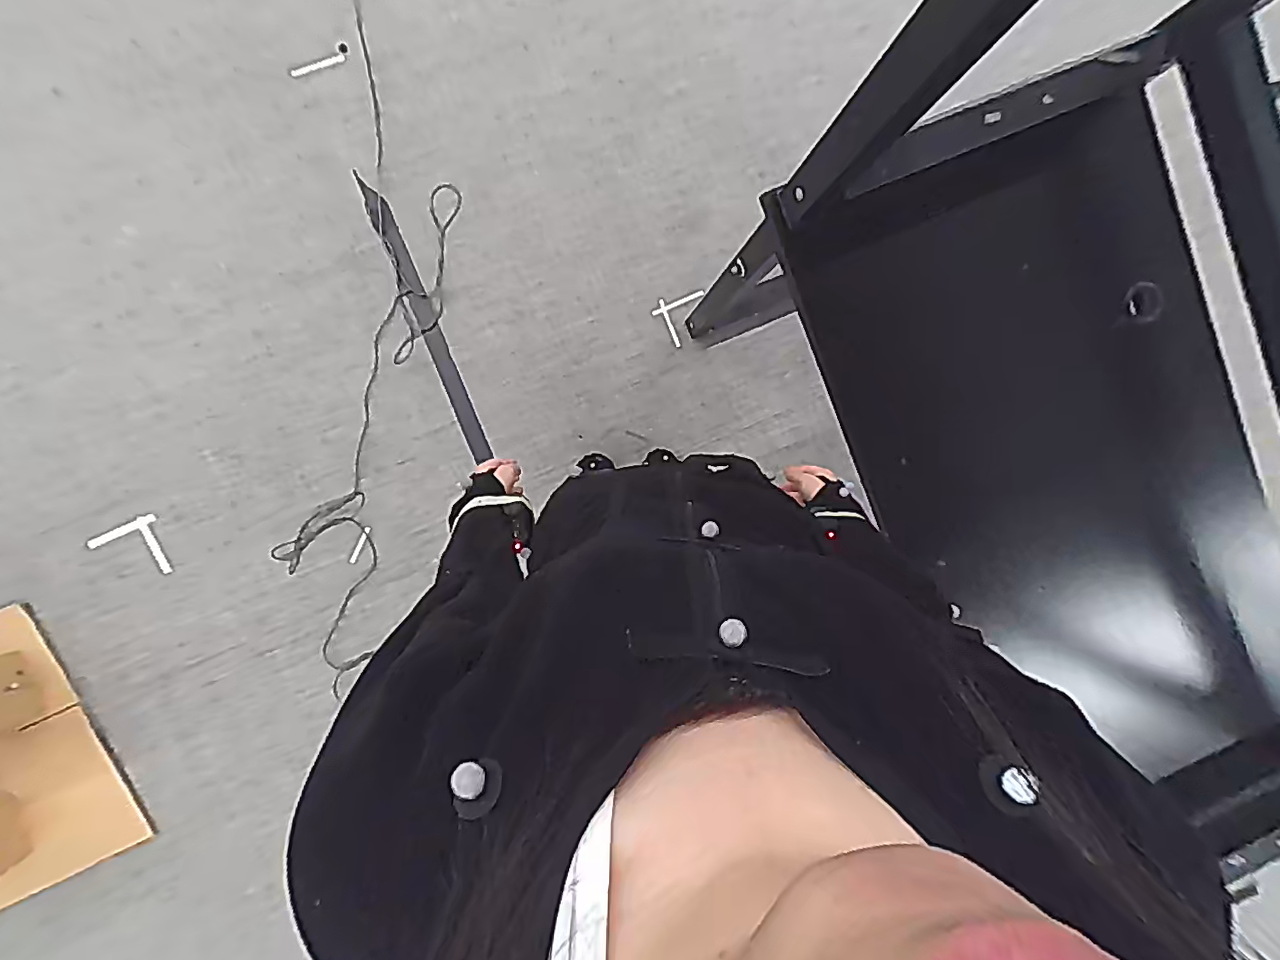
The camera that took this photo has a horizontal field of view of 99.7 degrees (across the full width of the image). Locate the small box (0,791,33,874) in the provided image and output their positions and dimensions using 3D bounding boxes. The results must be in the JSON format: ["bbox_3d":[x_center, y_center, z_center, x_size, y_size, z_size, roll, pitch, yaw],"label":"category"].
[{"bbox_3d":[-1.648,0.898,1.302,0.168,0.176,0.179,-15,96,-5],"label":"small box"}]
